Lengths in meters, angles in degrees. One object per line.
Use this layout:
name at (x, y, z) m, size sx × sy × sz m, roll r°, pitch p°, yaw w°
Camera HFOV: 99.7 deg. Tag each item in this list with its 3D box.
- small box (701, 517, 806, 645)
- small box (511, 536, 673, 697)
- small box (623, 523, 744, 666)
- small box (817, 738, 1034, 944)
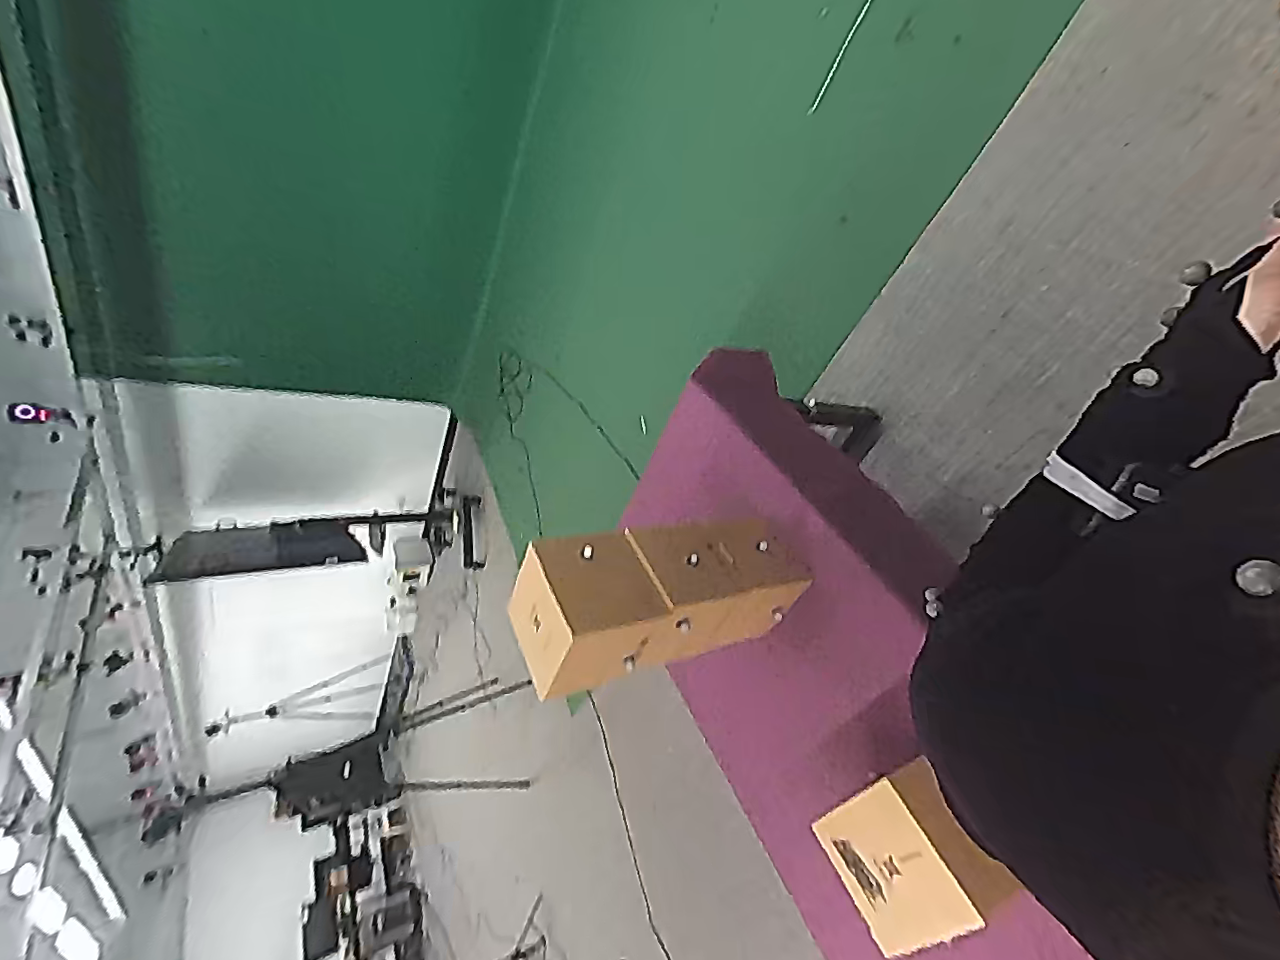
small box at (0.187, 0.184, 1.036) m, size 0.168 × 0.176 × 0.179 m, roll 57°, pitch 134°, yaw 37°
small box at (-0.079, 0.202, 0.844) m, size 0.179 × 0.176 × 0.168 m, roll 55°, pitch 134°, yaw 36°
small box at (0.054, 0.191, 0.938) m, size 0.168 × 0.176 × 0.179 m, roll 57°, pitch 134°, yaw 37°
small box at (0.395, 0.495, 0.756) m, size 0.168 × 0.176 × 0.179 m, roll 58°, pitch 134°, yaw 36°
